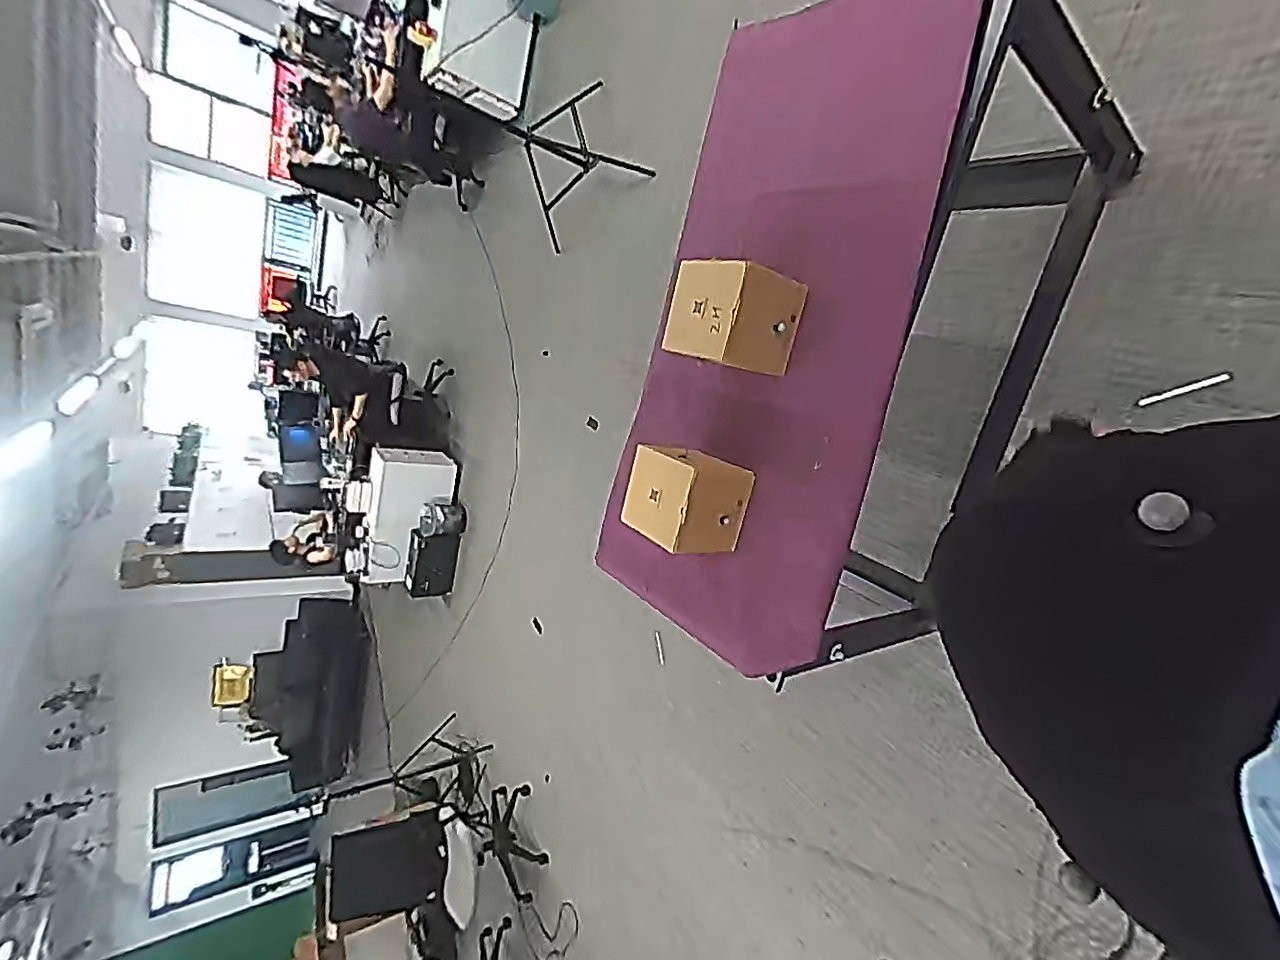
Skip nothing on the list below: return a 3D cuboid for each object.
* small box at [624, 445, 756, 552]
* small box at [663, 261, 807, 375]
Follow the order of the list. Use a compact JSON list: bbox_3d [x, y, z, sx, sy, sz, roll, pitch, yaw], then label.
[{"bbox_3d":[0.098,0.037,1.085,0.179,0.176,0.168,27,108,49],"label":"small box"},{"bbox_3d":[0.175,-0.299,1.007,0.179,0.176,0.168,29,111,49],"label":"small box"}]
